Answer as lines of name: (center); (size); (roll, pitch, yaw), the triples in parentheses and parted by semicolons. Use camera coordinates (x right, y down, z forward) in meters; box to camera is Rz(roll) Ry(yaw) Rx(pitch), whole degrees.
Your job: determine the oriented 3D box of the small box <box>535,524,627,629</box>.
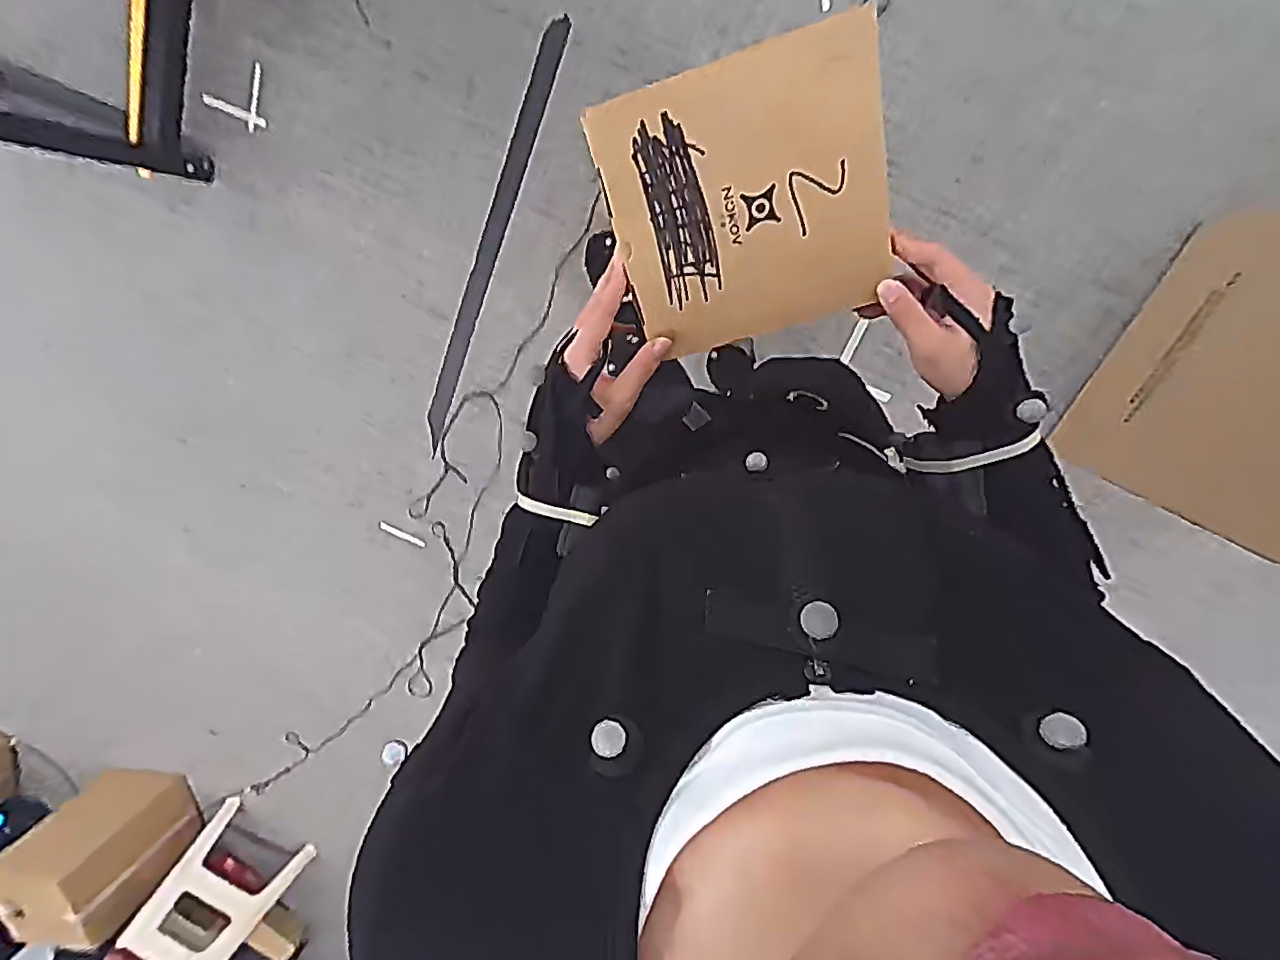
small box: (-0.147, 0.247, 1.416); (0.168, 0.176, 0.179); (30, 108, -5)
